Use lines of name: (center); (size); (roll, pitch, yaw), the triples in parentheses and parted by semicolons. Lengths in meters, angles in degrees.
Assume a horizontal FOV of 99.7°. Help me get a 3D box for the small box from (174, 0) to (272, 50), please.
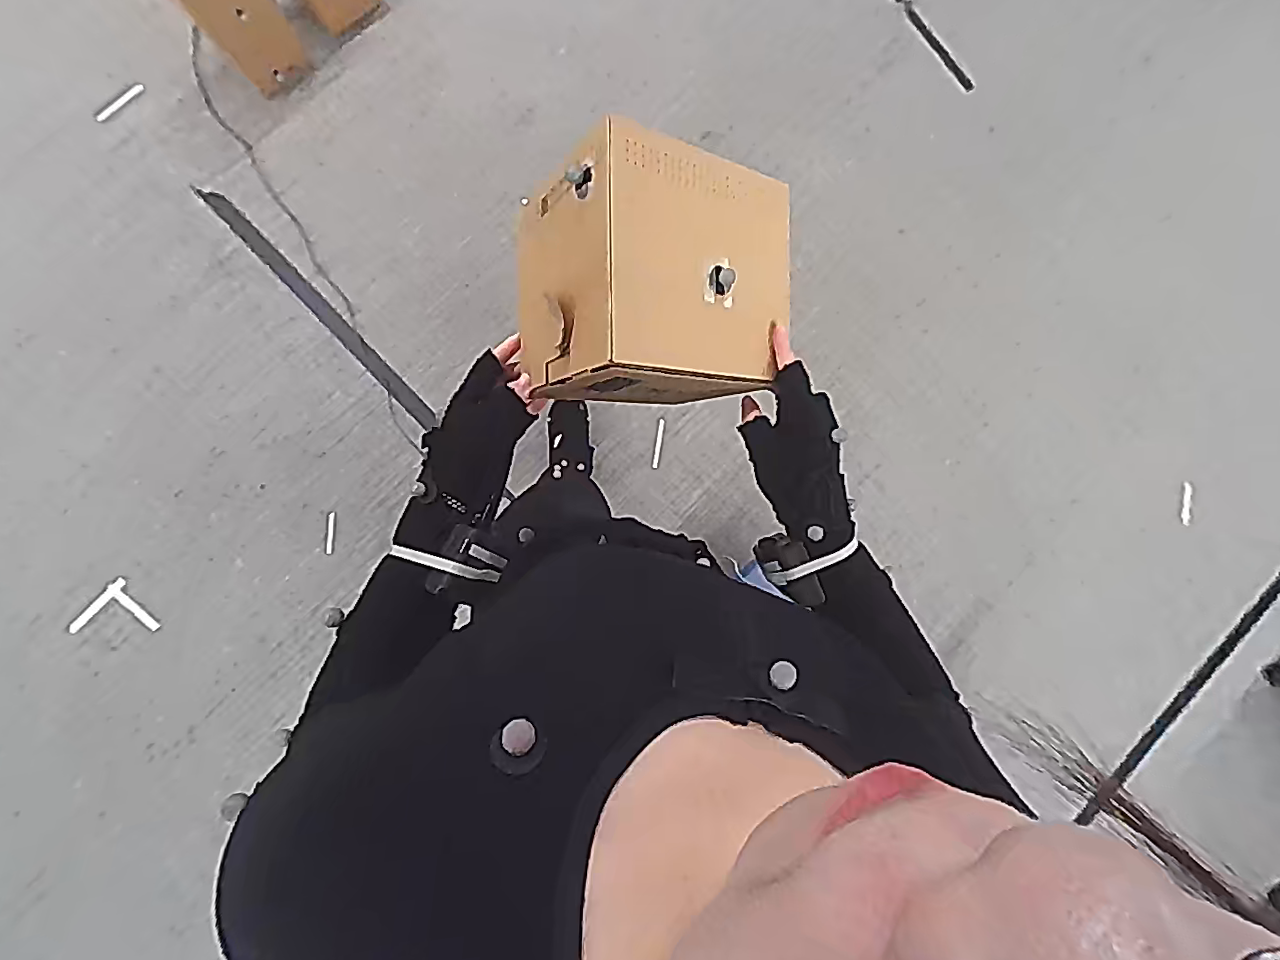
small box: (-0.947, -1.107, 1.173); (0.179, 0.176, 0.168); (-44, 93, -4)

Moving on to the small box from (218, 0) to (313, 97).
small box: (-0.966, -1.111, 1.336); (0.168, 0.176, 0.179); (-43, 95, -4)

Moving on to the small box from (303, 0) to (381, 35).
small box: (-0.790, -1.288, 1.358); (0.179, 0.176, 0.168); (-42, 94, -6)

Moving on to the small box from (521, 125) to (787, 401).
small box: (0.005, -0.166, 0.467); (0.179, 0.168, 0.176); (-3, 92, -33)
